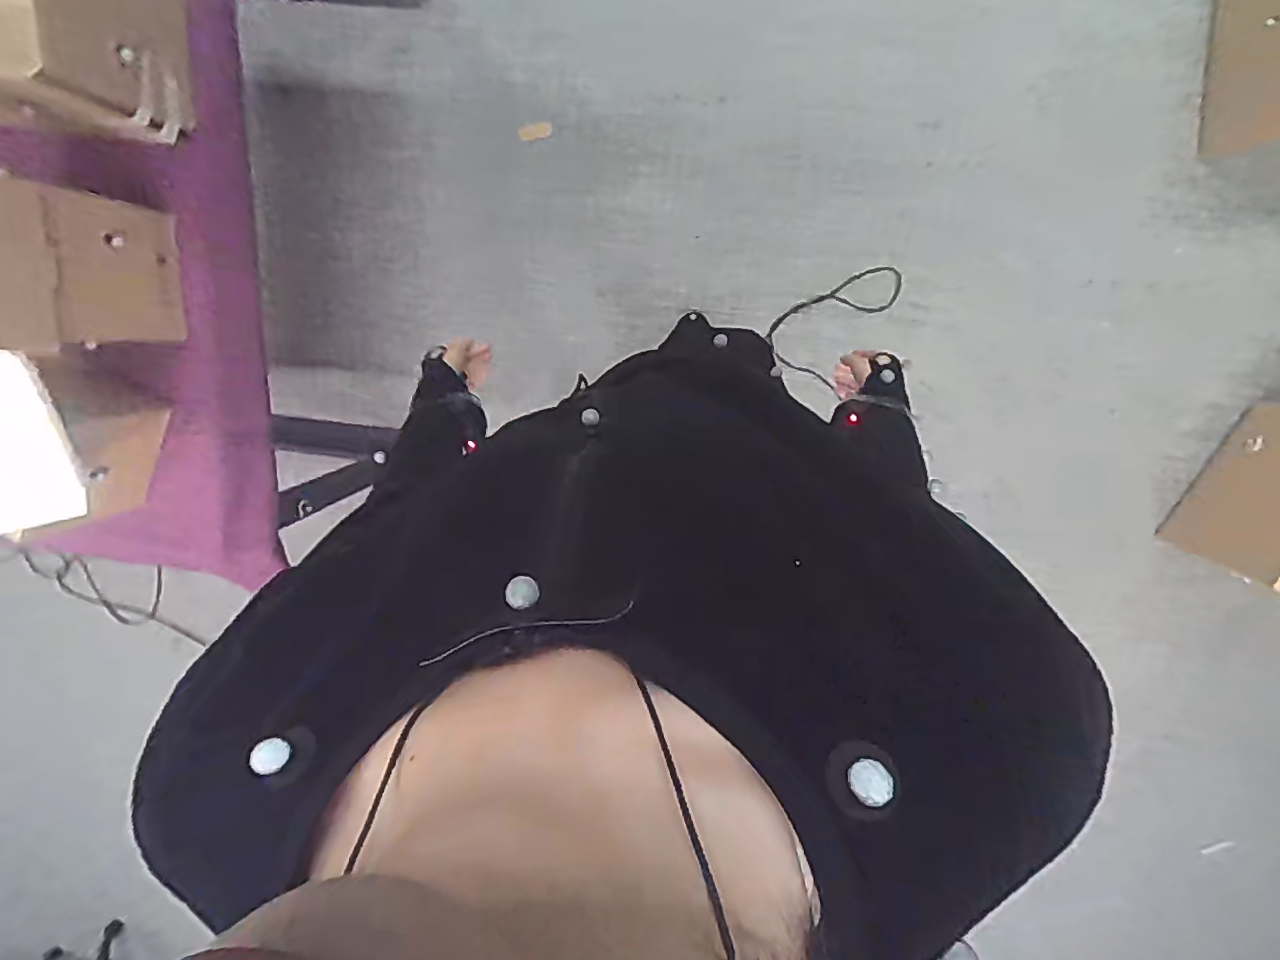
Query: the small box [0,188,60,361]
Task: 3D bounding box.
[{"bbox_3d":[-0.725,-0.211,0.515,0.168,0.176,0.179,8,105,3],"label":"small box"}]
